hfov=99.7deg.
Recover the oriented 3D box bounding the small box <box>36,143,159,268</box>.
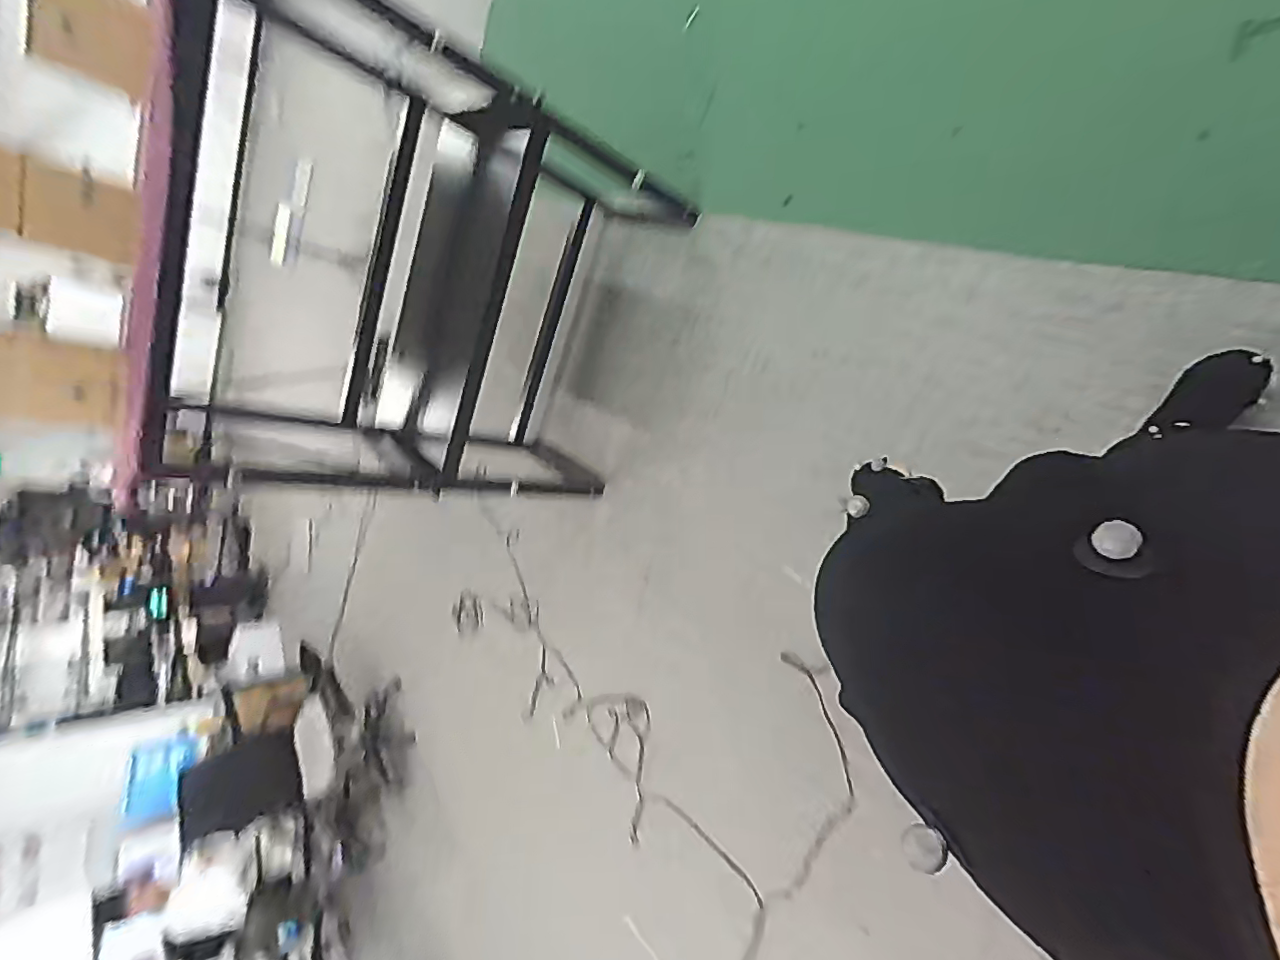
[{"bbox_3d":[-1.099,-0.555,1.102,0.168,0.176,0.179,31,110,42],"label":"small box"}]

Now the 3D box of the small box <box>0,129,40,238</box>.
[{"bbox_3d":[-1.216,-0.561,0.989,0.168,0.176,0.179,29,107,42],"label":"small box"}]

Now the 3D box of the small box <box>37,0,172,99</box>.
[{"bbox_3d":[-1.015,-0.860,1.034,0.168,0.176,0.179,35,112,42],"label":"small box"}]

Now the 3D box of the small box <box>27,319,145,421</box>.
[{"bbox_3d":[-1.190,-0.231,1.166,0.179,0.176,0.168,29,107,40],"label":"small box"}]
